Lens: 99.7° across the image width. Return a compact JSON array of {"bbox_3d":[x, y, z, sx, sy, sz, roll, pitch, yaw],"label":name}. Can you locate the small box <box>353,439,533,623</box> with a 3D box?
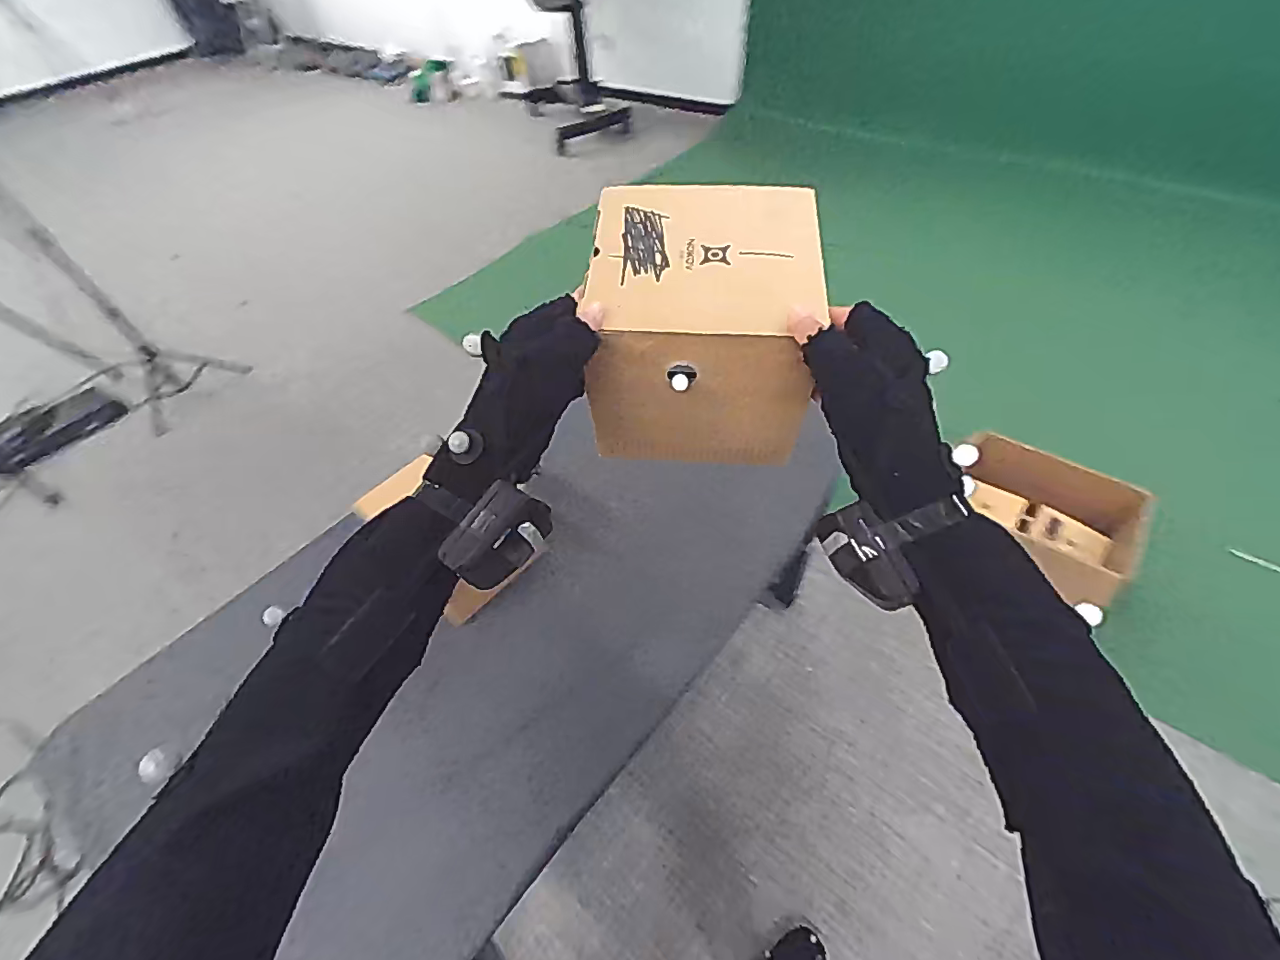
[{"bbox_3d":[-0.280,0.077,0.813,0.168,0.176,0.179,32,60,28],"label":"small box"}]
